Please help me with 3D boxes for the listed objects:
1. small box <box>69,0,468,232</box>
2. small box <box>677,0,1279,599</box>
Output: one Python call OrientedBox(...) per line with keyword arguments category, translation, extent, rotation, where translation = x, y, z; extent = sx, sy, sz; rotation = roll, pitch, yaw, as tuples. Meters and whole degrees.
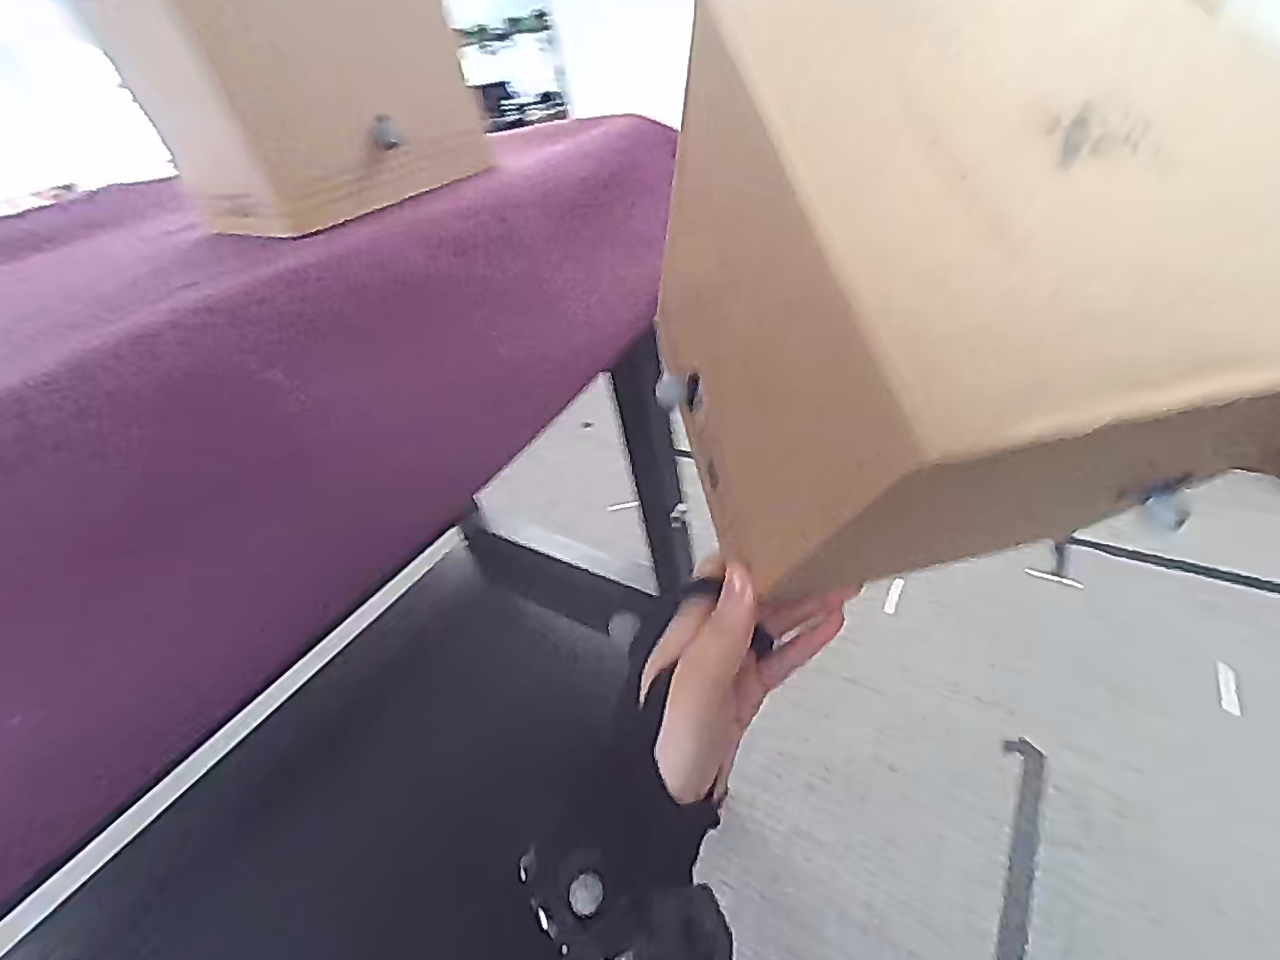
OrientedBox(category="small box", translation=(-0.247, -0.290, 0.381), extent=(0.168, 0.176, 0.179), rotation=(18, 48, 34))
OrientedBox(category="small box", translation=(0.123, -0.061, 0.220), extent=(0.179, 0.176, 0.168), rotation=(-10, 66, -7))
